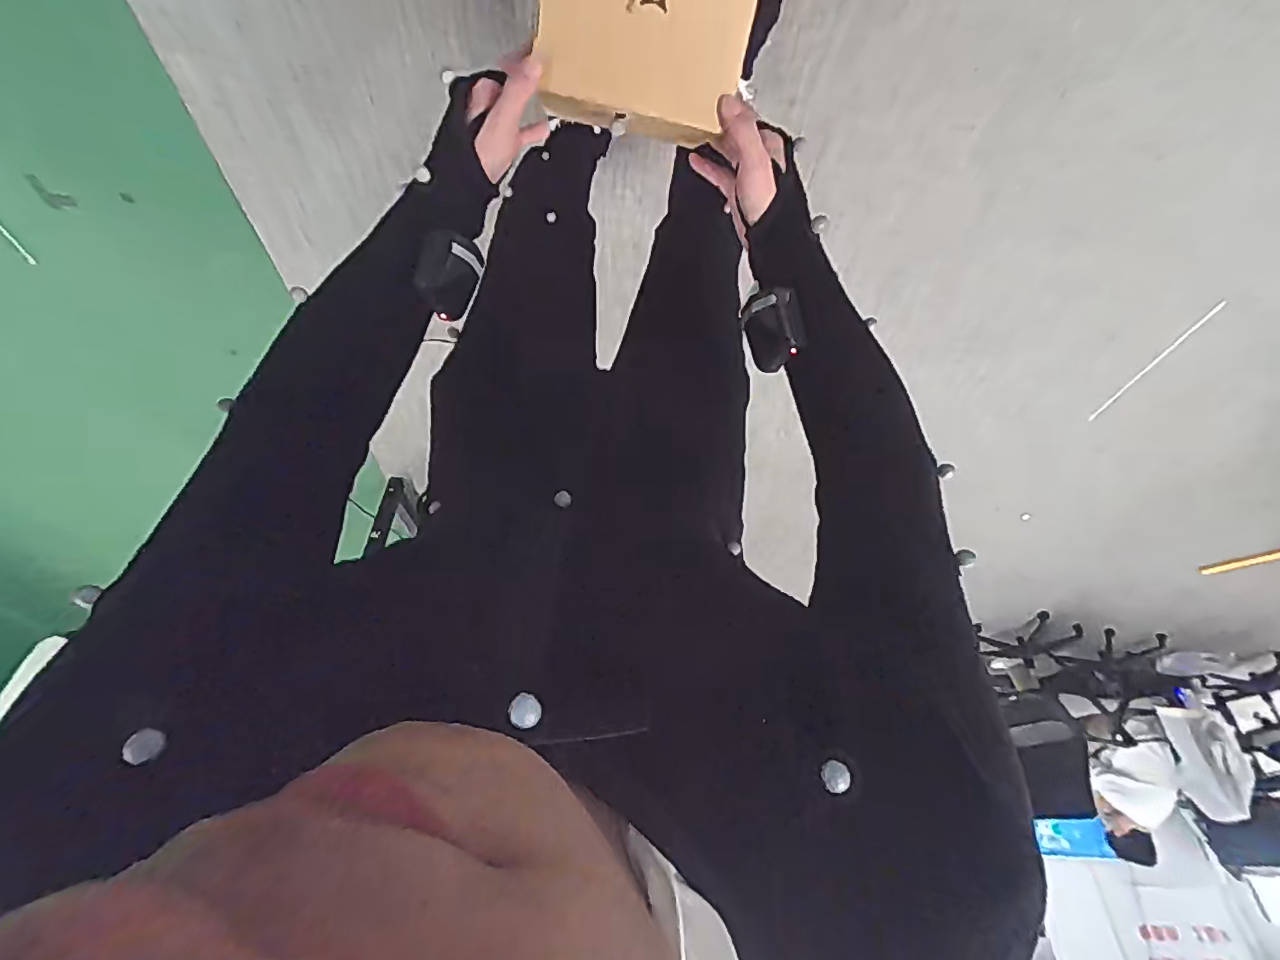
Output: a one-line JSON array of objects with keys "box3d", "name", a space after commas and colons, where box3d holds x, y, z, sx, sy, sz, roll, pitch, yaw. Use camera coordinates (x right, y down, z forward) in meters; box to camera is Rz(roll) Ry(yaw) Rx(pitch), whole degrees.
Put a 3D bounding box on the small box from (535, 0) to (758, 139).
[{"box3d": [0.006, -0.435, 0.510, 0.179, 0.176, 0.168, 9, 117, -7], "name": "small box"}]
